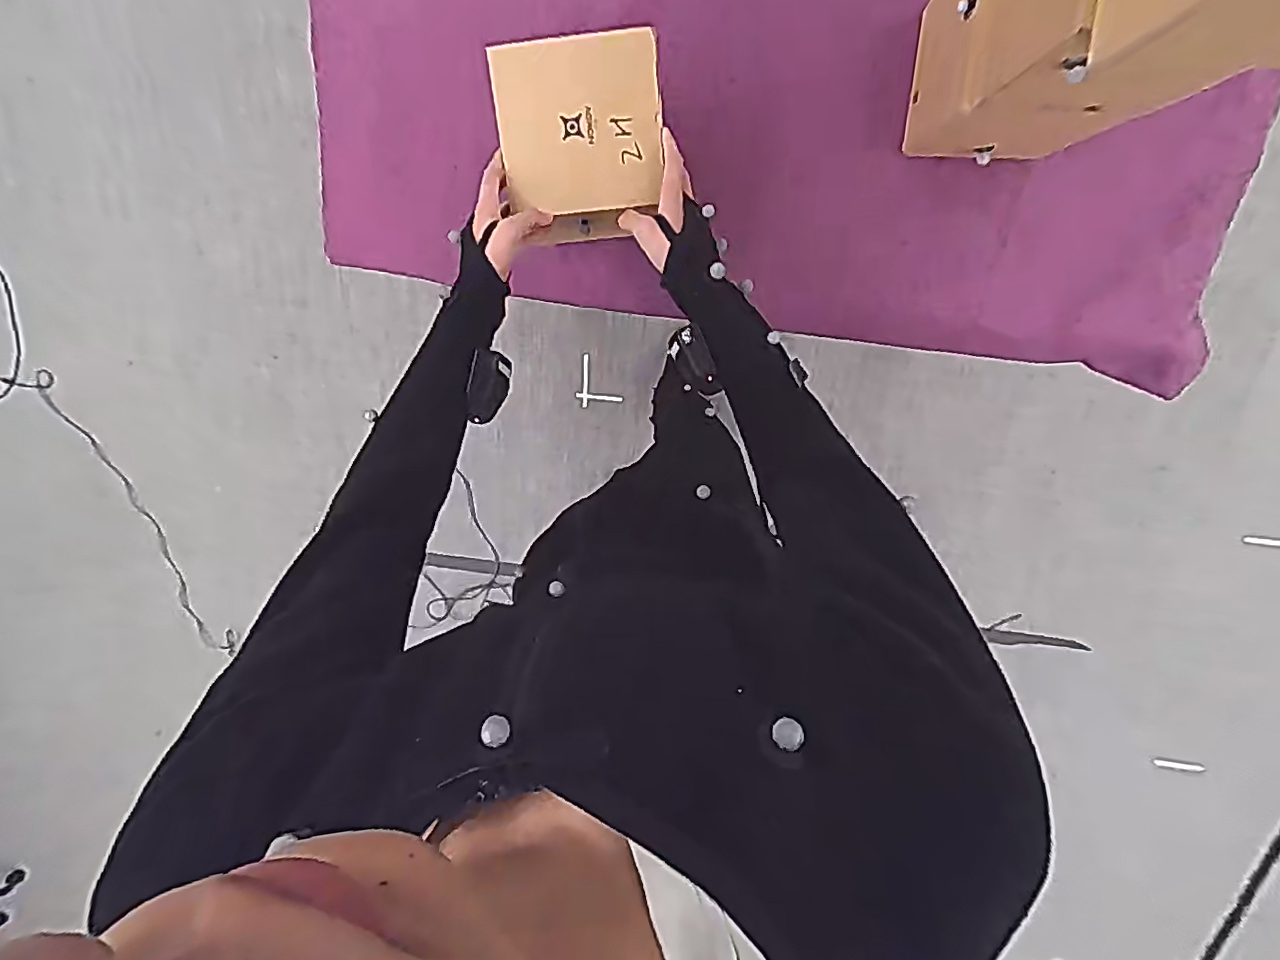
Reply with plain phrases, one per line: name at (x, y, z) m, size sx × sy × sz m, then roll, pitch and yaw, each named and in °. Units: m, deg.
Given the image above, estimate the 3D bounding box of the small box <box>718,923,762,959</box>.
small box at (0.397, 1.901, 2.132) m, size 0.168 × 0.176 × 0.179 m, roll -4°, pitch 108°, yaw 6°

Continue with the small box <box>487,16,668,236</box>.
small box at (-0.060, -0.394, 0.634) m, size 0.179 × 0.176 × 0.168 m, roll -5°, pitch 105°, yaw 2°

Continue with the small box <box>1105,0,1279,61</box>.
small box at (0.402, -0.350, 0.281) m, size 0.179 × 0.176 × 0.168 m, roll 1°, pitch 107°, yaw 5°

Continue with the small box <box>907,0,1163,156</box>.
small box at (0.423, -0.468, 0.587) m, size 0.179 × 0.176 × 0.168 m, roll 4°, pitch 108°, yaw 4°
